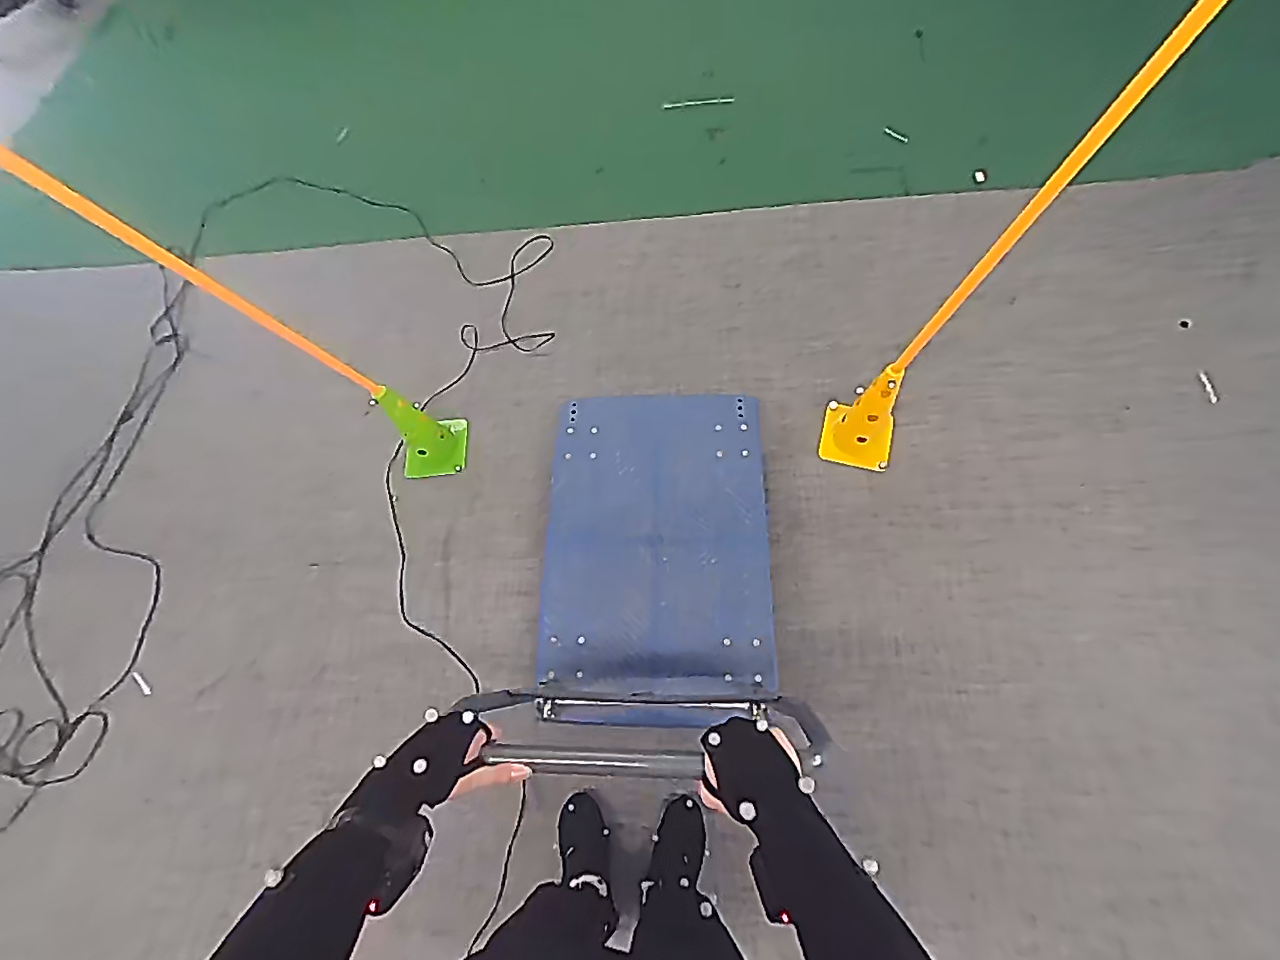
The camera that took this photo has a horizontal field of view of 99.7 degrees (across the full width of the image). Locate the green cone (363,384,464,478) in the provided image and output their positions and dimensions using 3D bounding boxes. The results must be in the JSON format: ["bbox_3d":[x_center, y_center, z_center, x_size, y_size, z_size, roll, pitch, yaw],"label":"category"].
[{"bbox_3d":[-0.691,-0.174,1.598,0.202,0.368,0.200,-7,66,5],"label":"green cone"}]
